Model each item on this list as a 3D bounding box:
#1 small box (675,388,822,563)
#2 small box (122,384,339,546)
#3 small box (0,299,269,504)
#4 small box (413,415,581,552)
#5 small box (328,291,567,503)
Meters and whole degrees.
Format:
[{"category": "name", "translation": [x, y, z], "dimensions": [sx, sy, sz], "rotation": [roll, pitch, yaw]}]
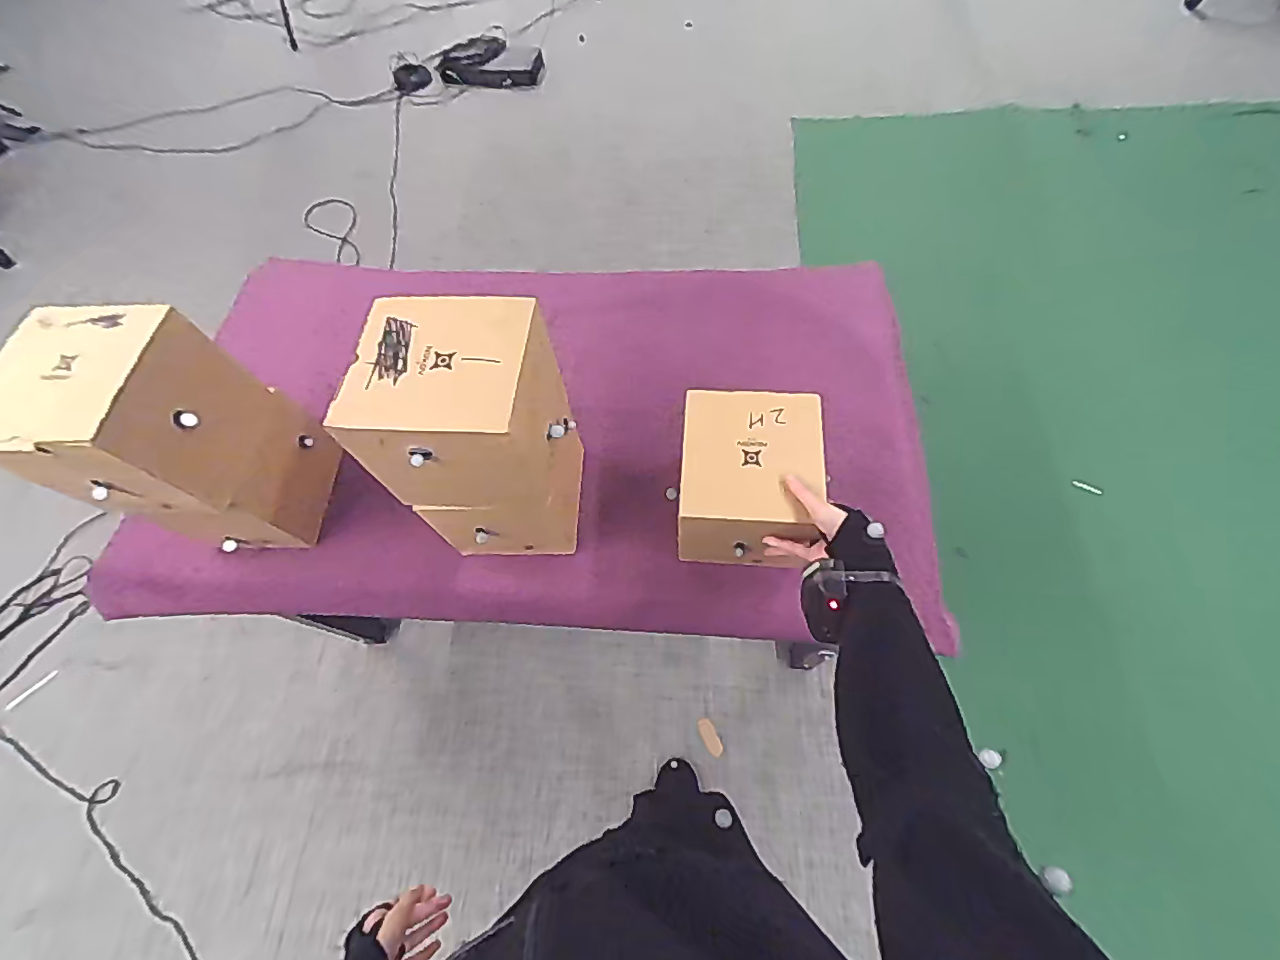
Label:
[{"category": "small box", "translation": [0.136, 0.001, 0.708], "dimensions": [0.168, 0.176, 0.179], "rotation": [4, 64, 6]}, {"category": "small box", "translation": [-0.566, -0.018, 0.771], "dimensions": [0.168, 0.176, 0.179], "rotation": [0, 64, 4]}, {"category": "small box", "translation": [-0.576, -0.081, 0.620], "dimensions": [0.168, 0.176, 0.179], "rotation": [1, 64, 5]}, {"category": "small box", "translation": [-0.179, -0.009, 0.739], "dimensions": [0.168, 0.176, 0.179], "rotation": [0, 61, 4]}, {"category": "small box", "translation": [-0.190, -0.084, 0.593], "dimensions": [0.179, 0.176, 0.168], "rotation": [2, 62, 5]}]
